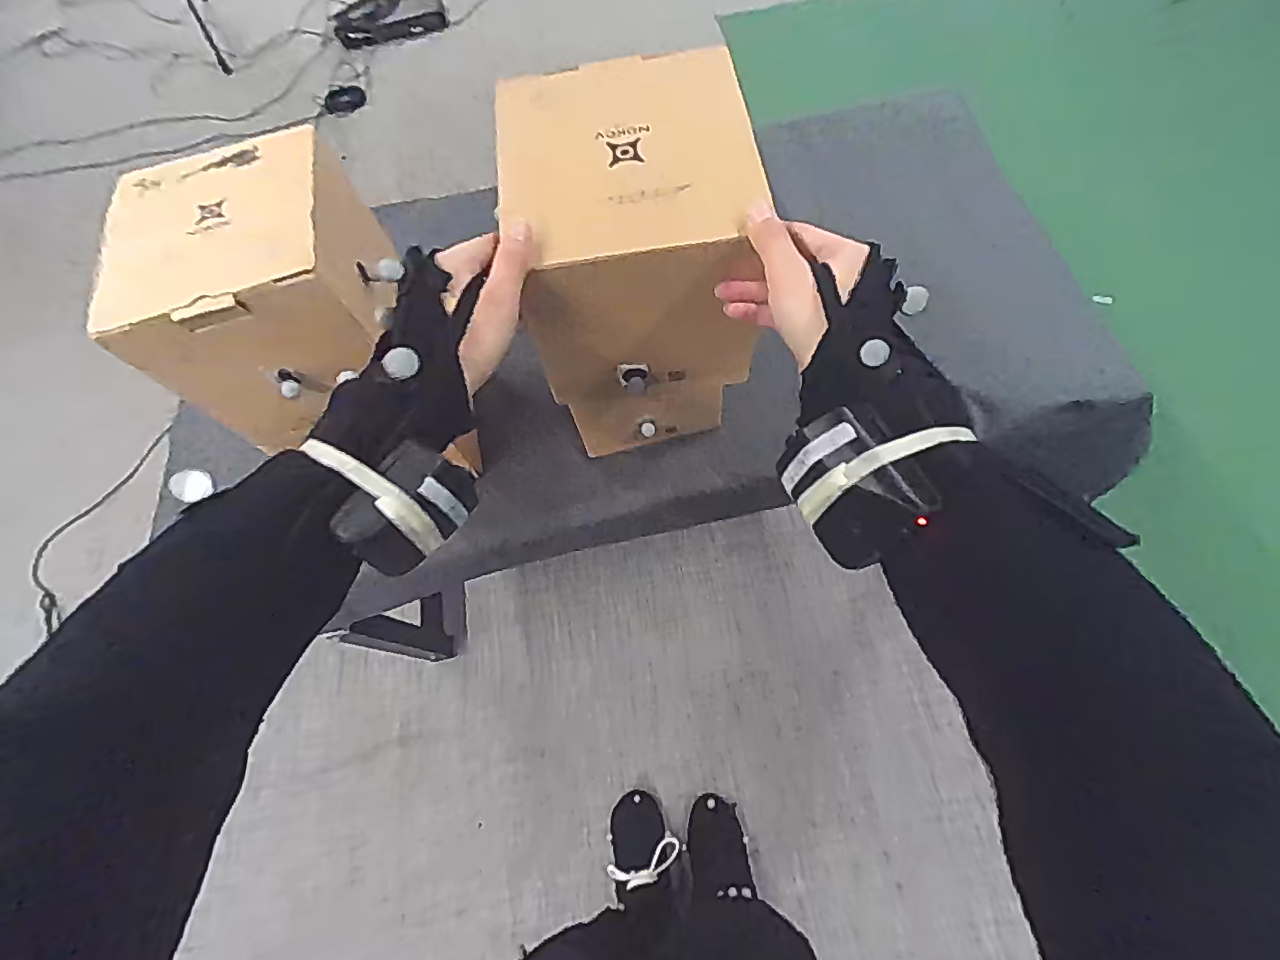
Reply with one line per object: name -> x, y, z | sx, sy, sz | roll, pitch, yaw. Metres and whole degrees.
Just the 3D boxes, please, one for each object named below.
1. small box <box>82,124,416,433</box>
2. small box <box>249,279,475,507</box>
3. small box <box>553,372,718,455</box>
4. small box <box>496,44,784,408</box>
small box -> -0.315, -0.159, 0.475 | 0.168, 0.176, 0.179 | -16, 66, -2
small box -> -0.305, -0.092, 0.624 | 0.168, 0.176, 0.179 | -15, 65, -1
small box -> -0.012, -0.155, 0.616 | 0.168, 0.176, 0.179 | -14, 65, 0
small box -> -0.003, -0.178, 0.414 | 0.168, 0.176, 0.179 | -9, 70, 1
